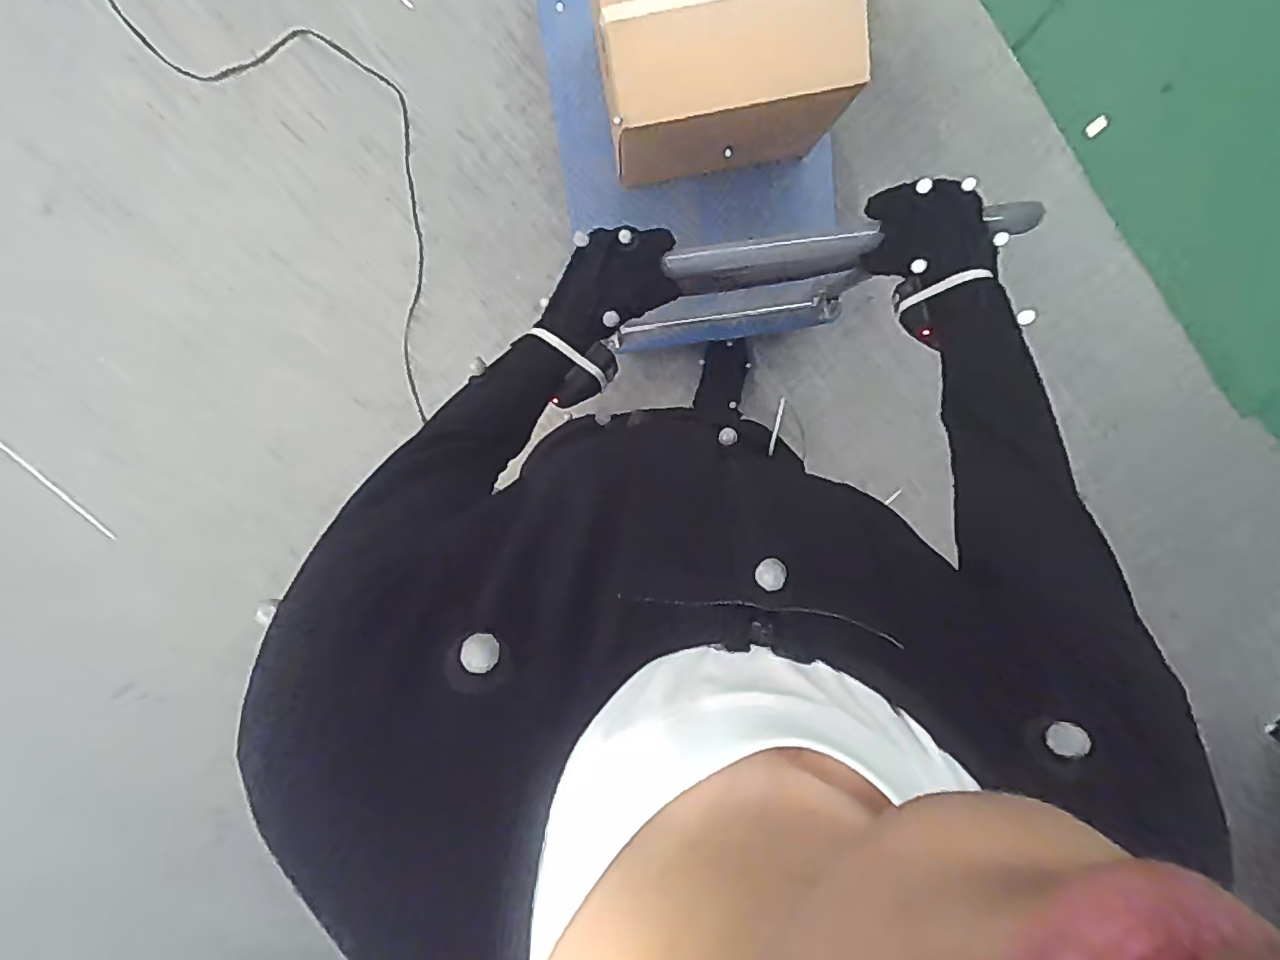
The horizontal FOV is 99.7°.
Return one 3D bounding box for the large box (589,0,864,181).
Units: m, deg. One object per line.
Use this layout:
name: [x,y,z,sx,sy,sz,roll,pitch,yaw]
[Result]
large box: [0.132,-0.783,0.974,0.408,0.320,0.320,-11,102,1]
